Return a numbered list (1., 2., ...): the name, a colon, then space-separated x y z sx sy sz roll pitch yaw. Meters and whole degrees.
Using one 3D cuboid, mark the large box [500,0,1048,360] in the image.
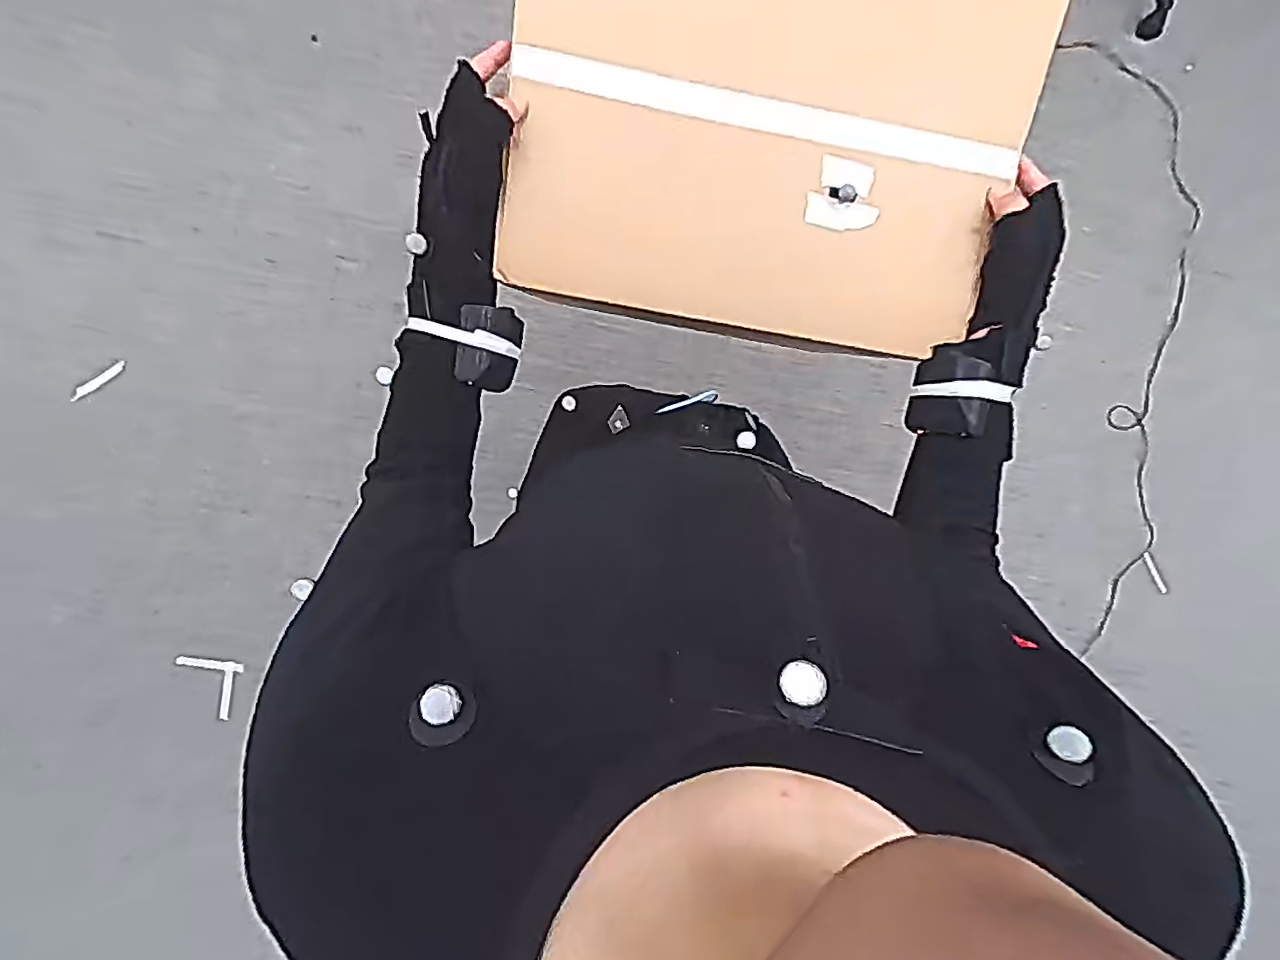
1. large box: 0.090 -0.320 0.573 0.408 0.320 0.320 9 106 -6
